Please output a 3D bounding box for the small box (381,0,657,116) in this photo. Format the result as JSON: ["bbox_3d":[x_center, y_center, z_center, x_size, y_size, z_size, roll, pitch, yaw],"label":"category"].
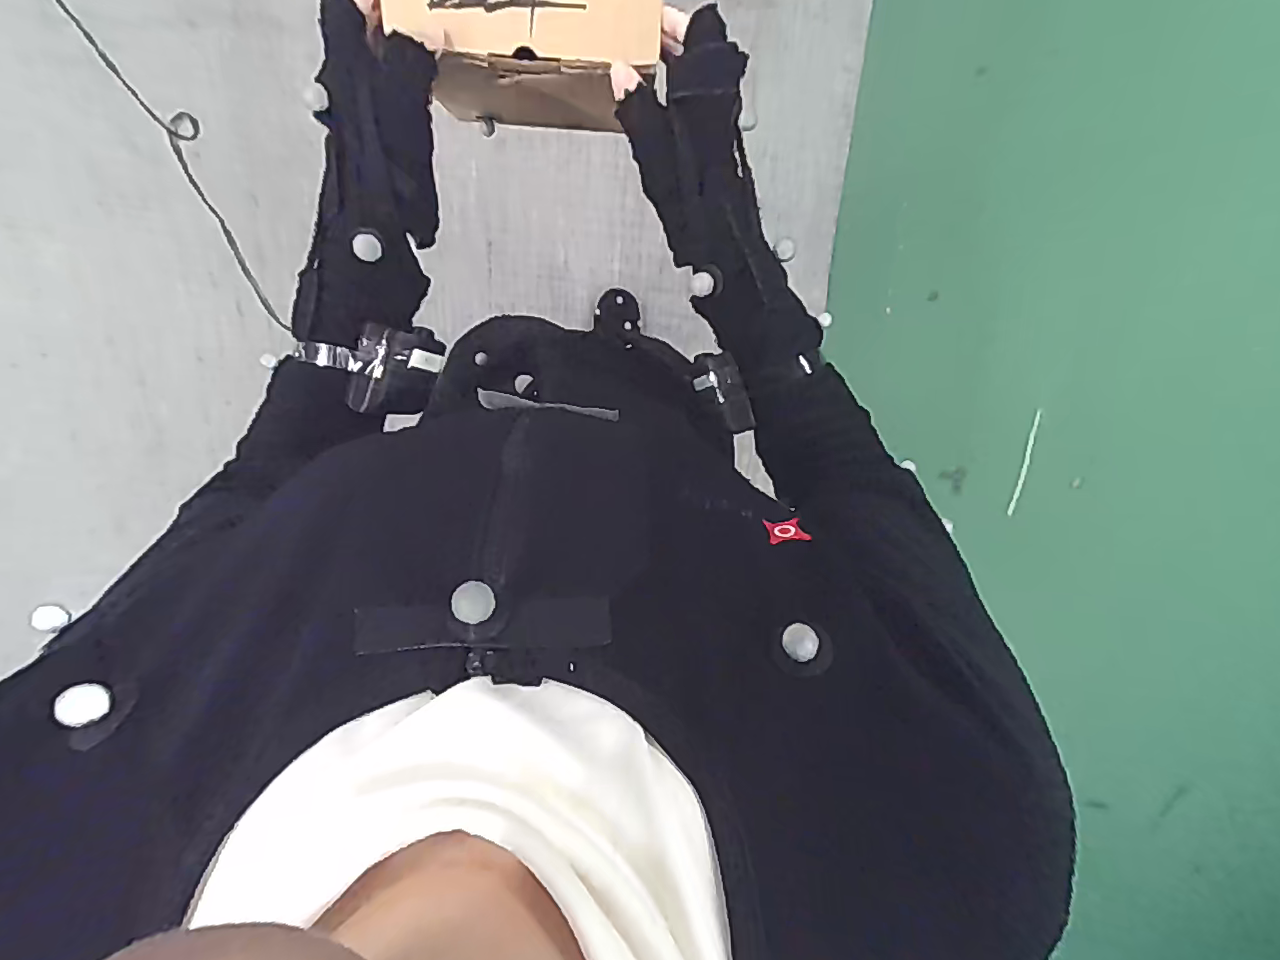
[{"bbox_3d":[-0.069,-0.370,0.367,0.168,0.176,0.179,2,111,-4],"label":"small box"}]
